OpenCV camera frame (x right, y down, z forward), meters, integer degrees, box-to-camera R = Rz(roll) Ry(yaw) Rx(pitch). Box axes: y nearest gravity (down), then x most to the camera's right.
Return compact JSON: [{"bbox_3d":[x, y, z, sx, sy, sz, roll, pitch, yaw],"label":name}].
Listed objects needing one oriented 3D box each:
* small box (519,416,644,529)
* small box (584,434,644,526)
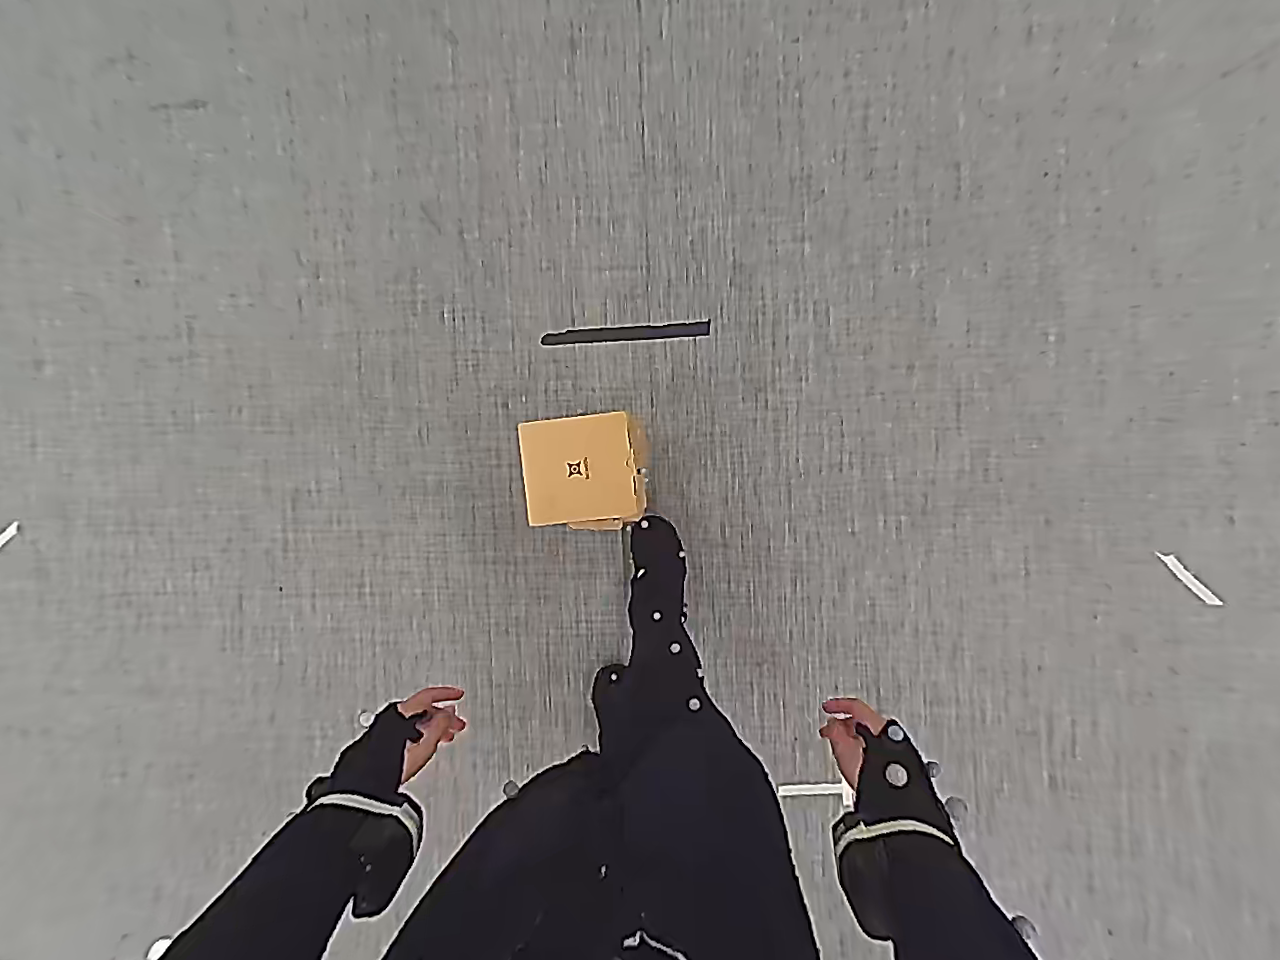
[{"bbox_3d":[-0.091,-0.010,0.921,0.179,0.176,0.168,-7,90,3],"label":"small box"},{"bbox_3d":[-0.078,-0.004,1.083,0.168,0.176,0.179,0,90,4],"label":"small box"}]
